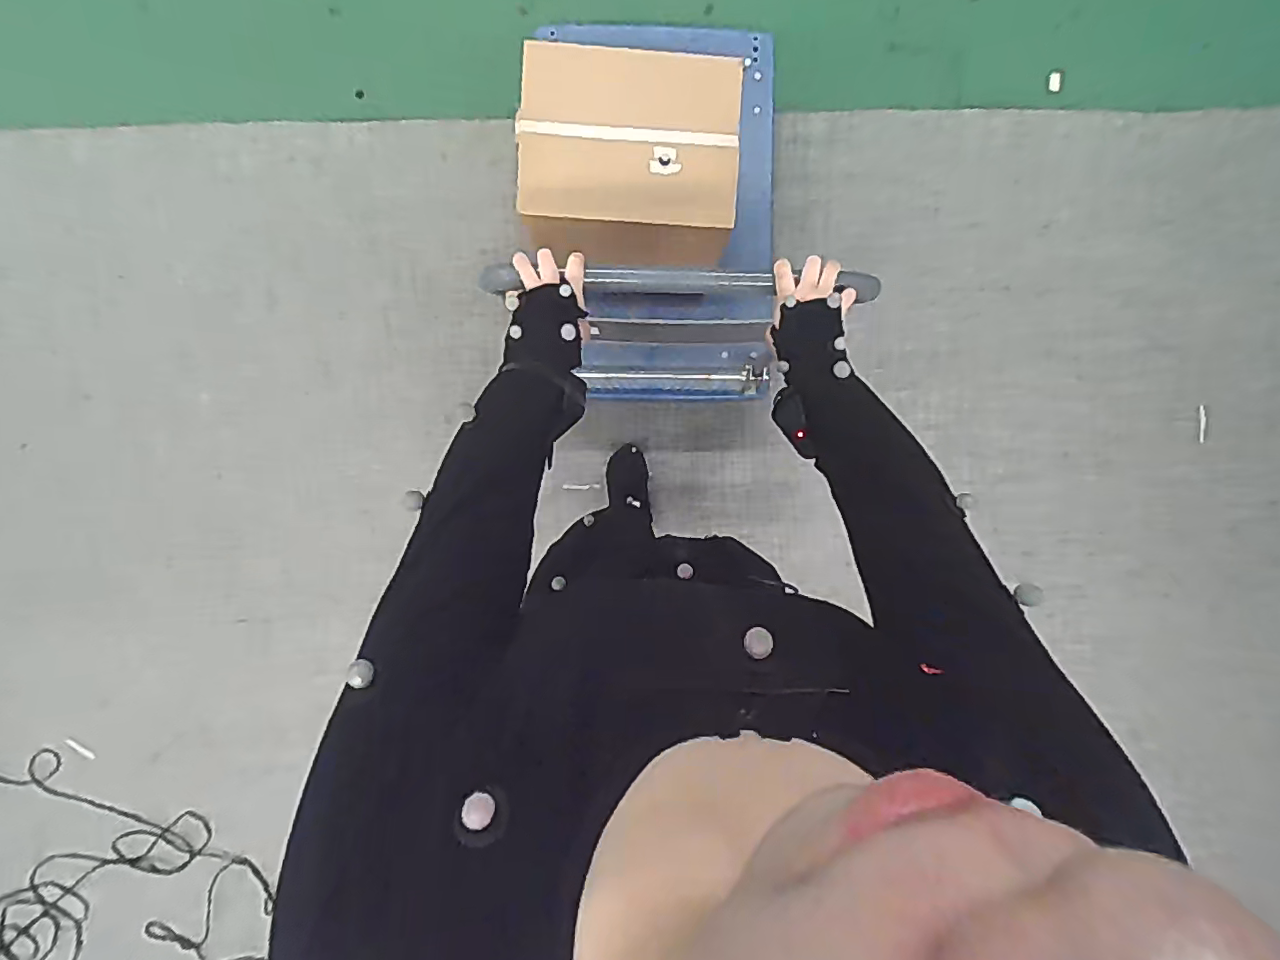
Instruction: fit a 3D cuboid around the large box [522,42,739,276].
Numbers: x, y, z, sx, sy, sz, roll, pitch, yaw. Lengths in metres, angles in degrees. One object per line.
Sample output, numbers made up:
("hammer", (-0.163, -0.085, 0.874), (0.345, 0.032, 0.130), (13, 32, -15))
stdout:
("large box", (-0.026, -0.651, 1.156), (0.408, 0.320, 0.320), (3, 92, -3))
